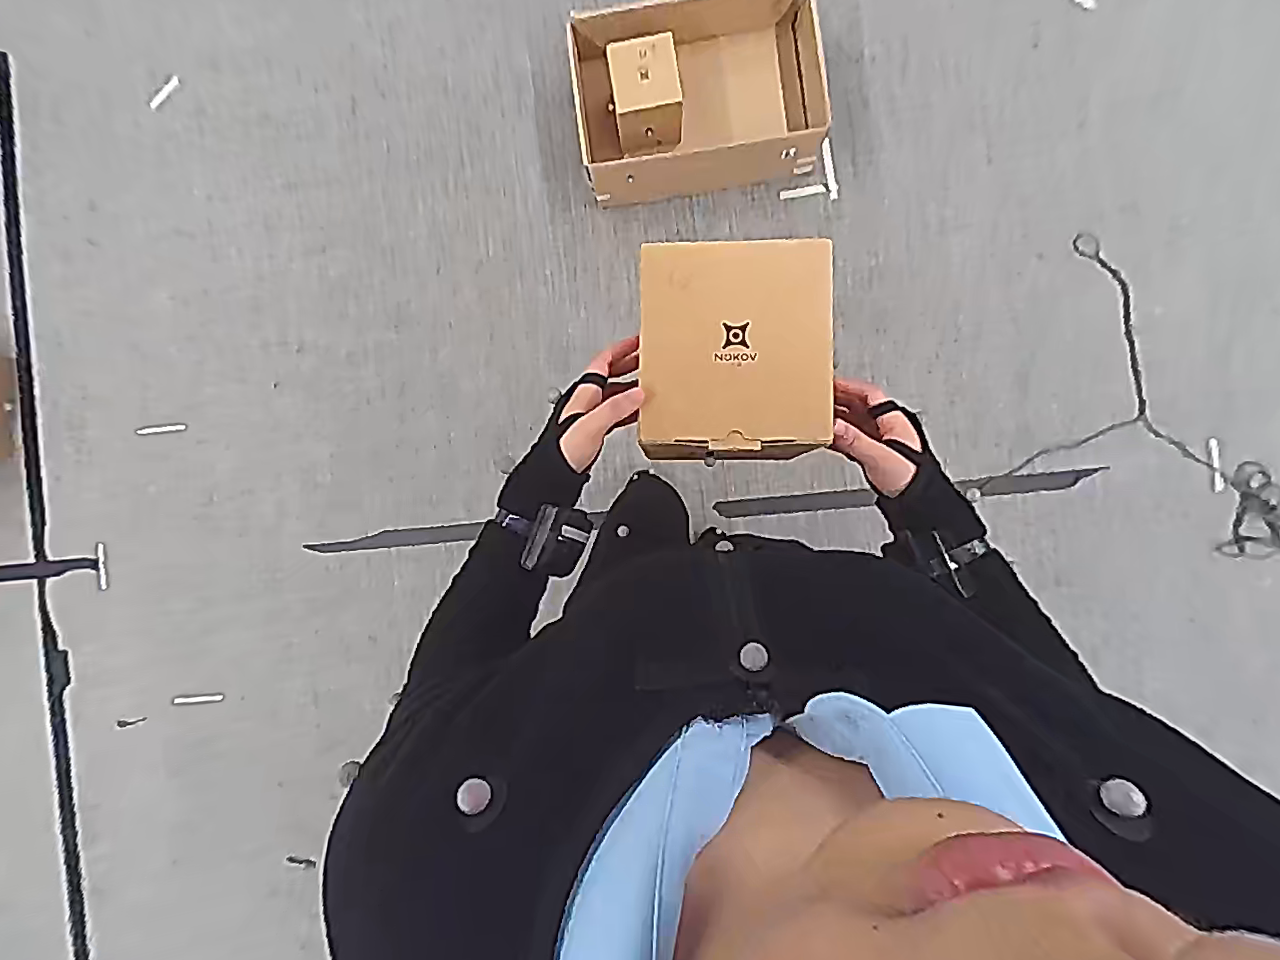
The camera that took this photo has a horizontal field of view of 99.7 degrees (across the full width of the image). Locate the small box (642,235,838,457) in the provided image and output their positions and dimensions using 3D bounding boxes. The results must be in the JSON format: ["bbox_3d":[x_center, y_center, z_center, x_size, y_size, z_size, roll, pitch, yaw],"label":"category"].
[{"bbox_3d":[0.088,-0.118,0.536,0.168,0.176,0.179,1,88,3],"label":"small box"}]

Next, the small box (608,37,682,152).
[{"bbox_3d":[0.017,-0.984,1.399,0.168,0.176,0.179,-9,88,2],"label":"small box"}]
